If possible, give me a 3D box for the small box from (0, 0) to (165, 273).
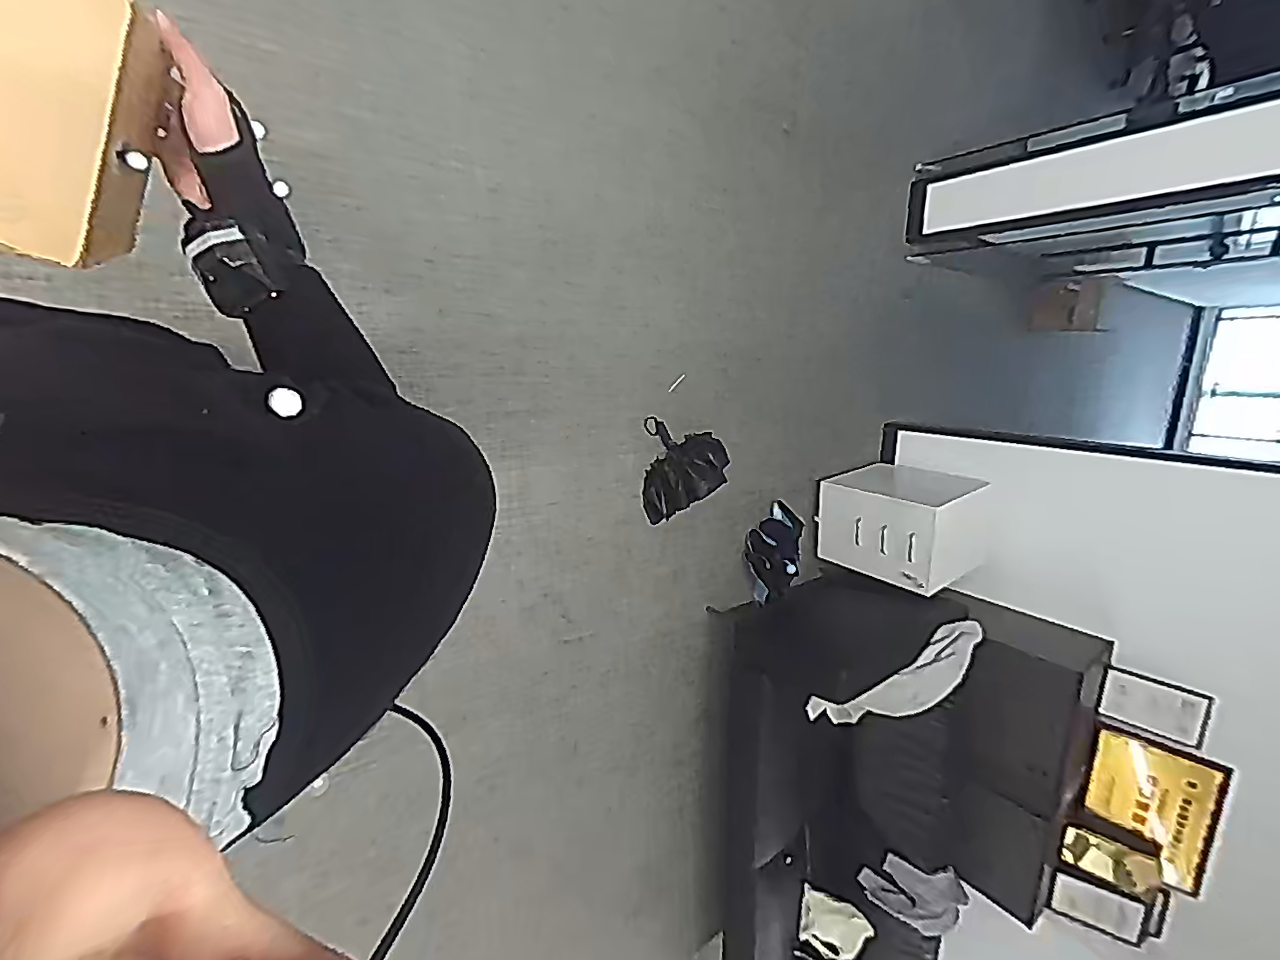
[{"bbox_3d":[-0.446,-0.265,0.361,0.168,0.176,0.179,14,105,-39],"label":"small box"}]
